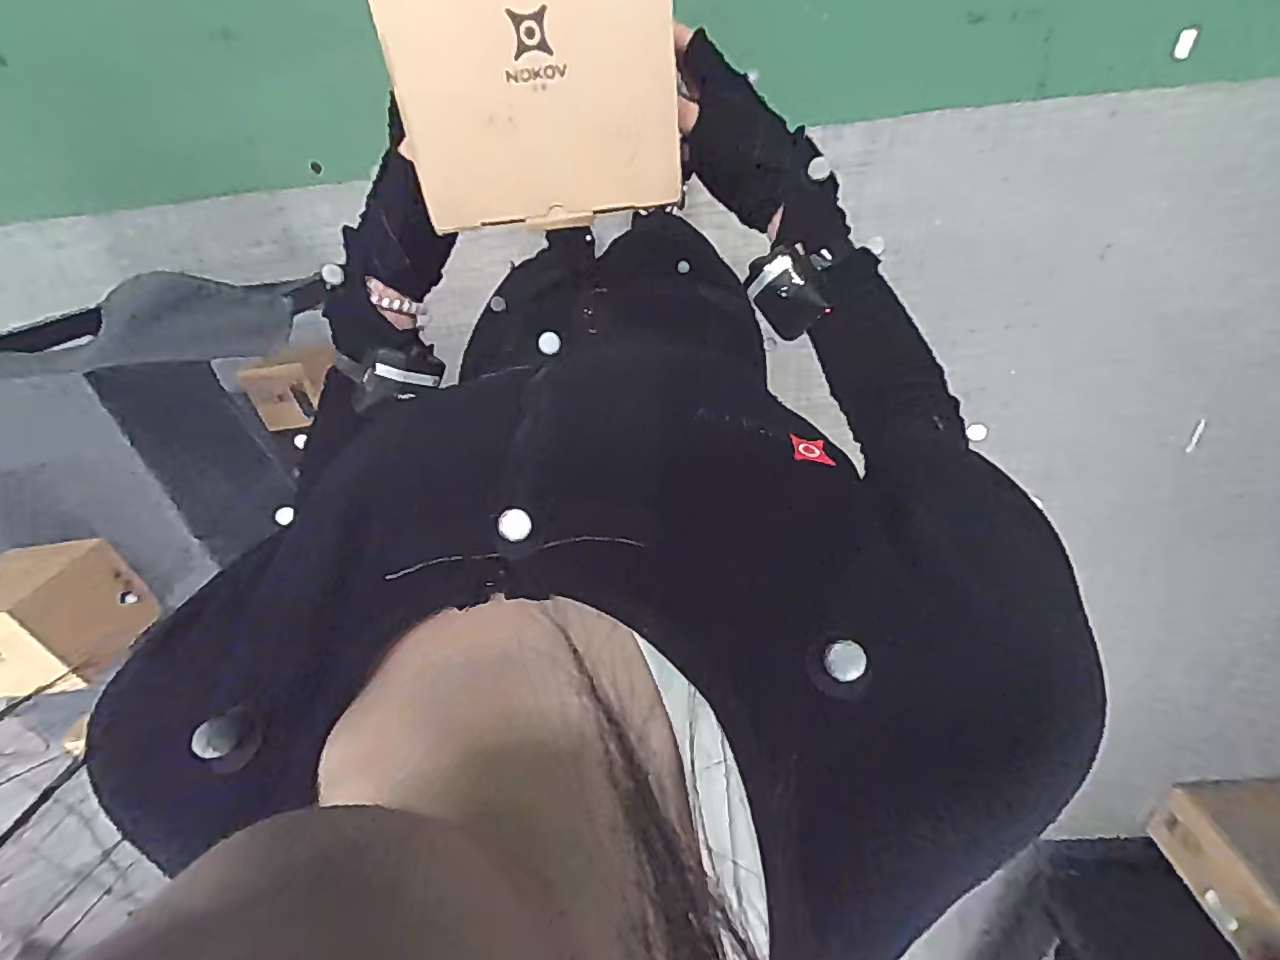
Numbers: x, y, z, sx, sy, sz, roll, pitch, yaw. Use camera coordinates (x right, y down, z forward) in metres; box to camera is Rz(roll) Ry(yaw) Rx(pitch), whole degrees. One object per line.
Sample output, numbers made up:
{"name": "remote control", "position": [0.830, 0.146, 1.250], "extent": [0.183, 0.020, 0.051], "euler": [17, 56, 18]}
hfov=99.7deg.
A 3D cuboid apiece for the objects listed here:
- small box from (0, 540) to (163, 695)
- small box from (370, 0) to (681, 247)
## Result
{"name": "small box", "position": [-0.931, 0.213, 0.852], "extent": [0.179, 0.176, 0.168], "euler": [-7, 123, 5]}
{"name": "small box", "position": [-0.066, -0.279, 0.376], "extent": [0.168, 0.176, 0.179], "euler": [-8, 124, -1]}
